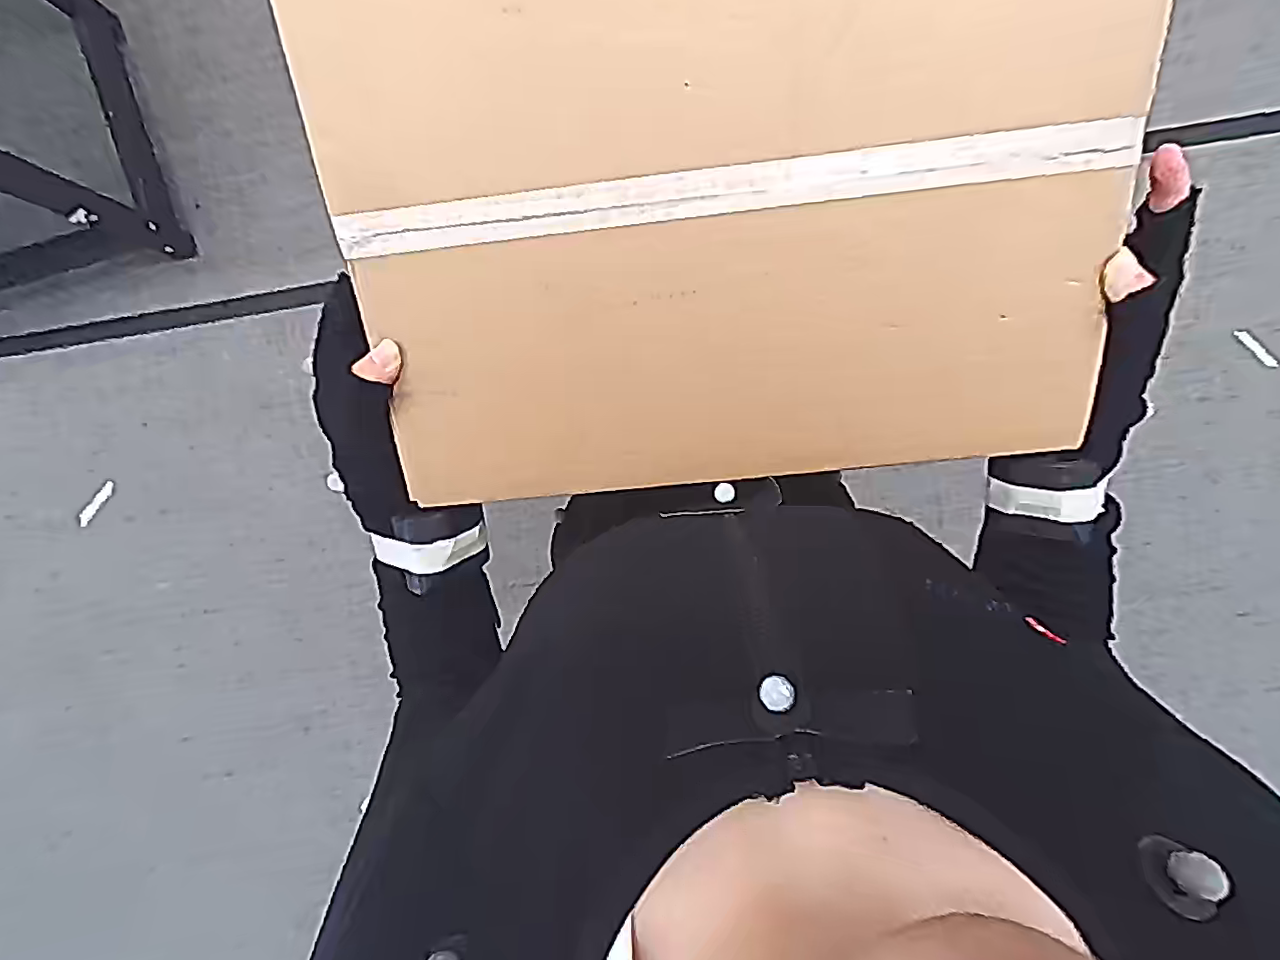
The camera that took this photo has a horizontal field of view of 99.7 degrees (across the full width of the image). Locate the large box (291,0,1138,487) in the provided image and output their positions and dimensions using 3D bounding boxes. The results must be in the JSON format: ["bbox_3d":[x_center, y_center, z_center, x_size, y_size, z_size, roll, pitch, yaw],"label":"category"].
[{"bbox_3d":[0.040,-0.209,0.423,0.408,0.320,0.320,-5,112,2],"label":"large box"}]
